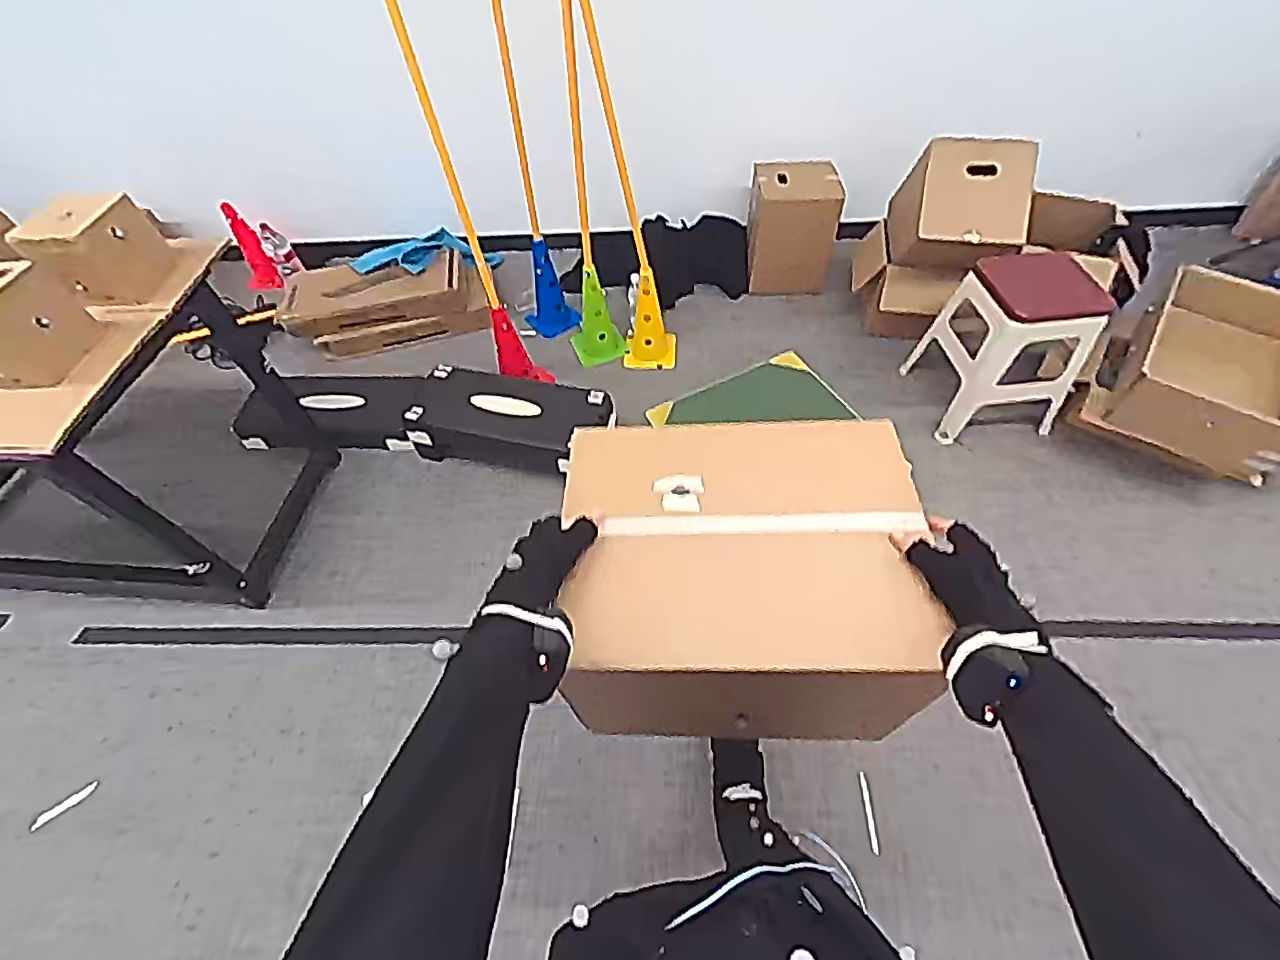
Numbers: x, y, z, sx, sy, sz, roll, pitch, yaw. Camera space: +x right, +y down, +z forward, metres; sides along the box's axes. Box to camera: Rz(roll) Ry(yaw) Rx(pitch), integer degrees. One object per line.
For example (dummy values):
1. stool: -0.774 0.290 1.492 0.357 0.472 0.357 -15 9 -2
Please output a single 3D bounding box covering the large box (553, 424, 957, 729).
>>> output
1. large box: 0.126 0.145 0.739 0.408 0.320 0.320 -2 52 5
